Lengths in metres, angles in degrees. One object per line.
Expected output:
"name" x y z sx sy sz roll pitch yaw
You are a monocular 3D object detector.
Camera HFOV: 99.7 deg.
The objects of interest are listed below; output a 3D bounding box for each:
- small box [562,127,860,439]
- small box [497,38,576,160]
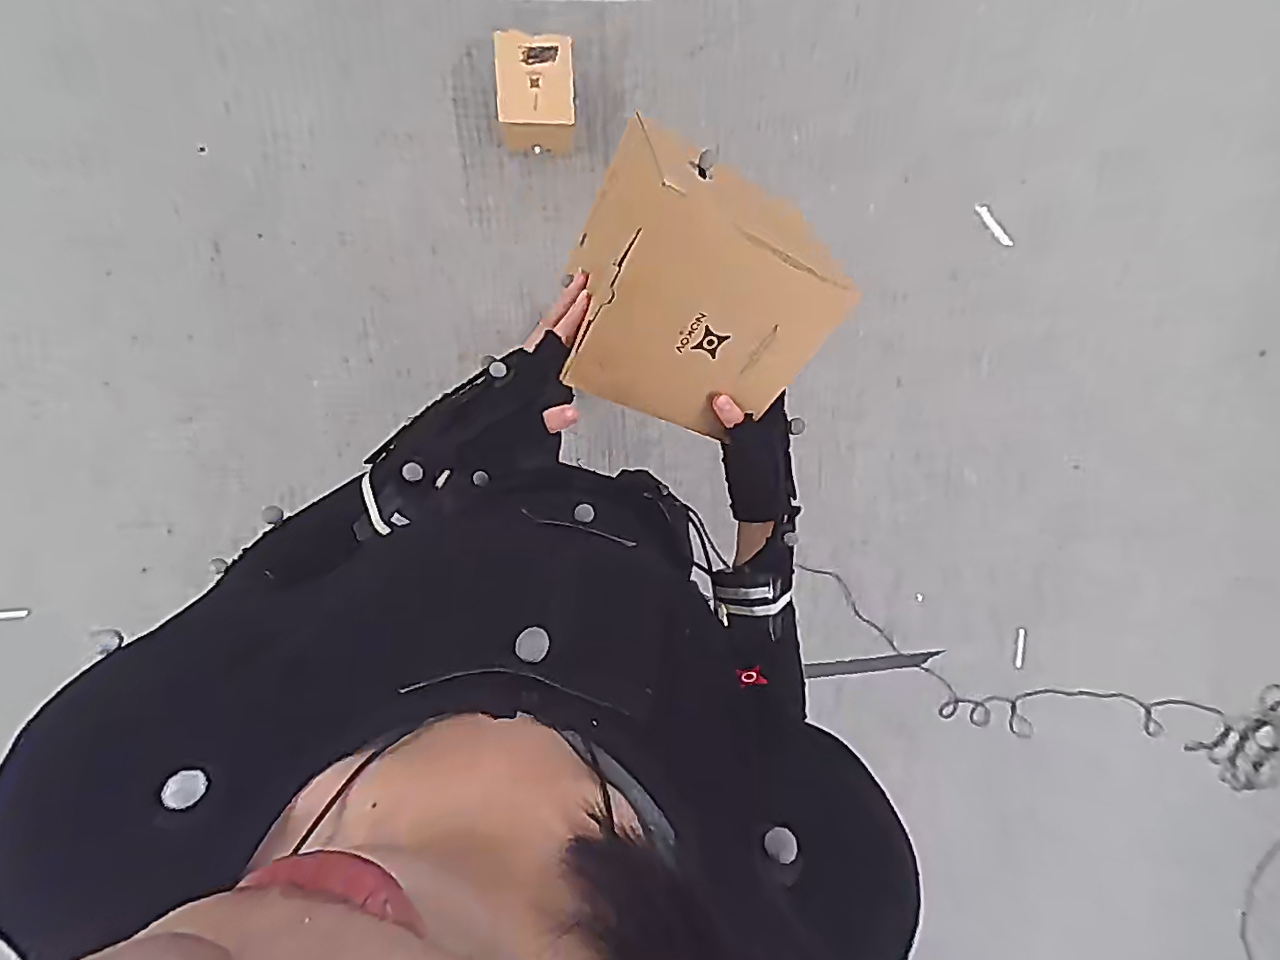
"small box" 0.042 -0.169 0.466 0.179 0.176 0.168 16 133 -25
"small box" -0.236 -0.872 1.253 0.168 0.176 0.179 -2 101 -7
